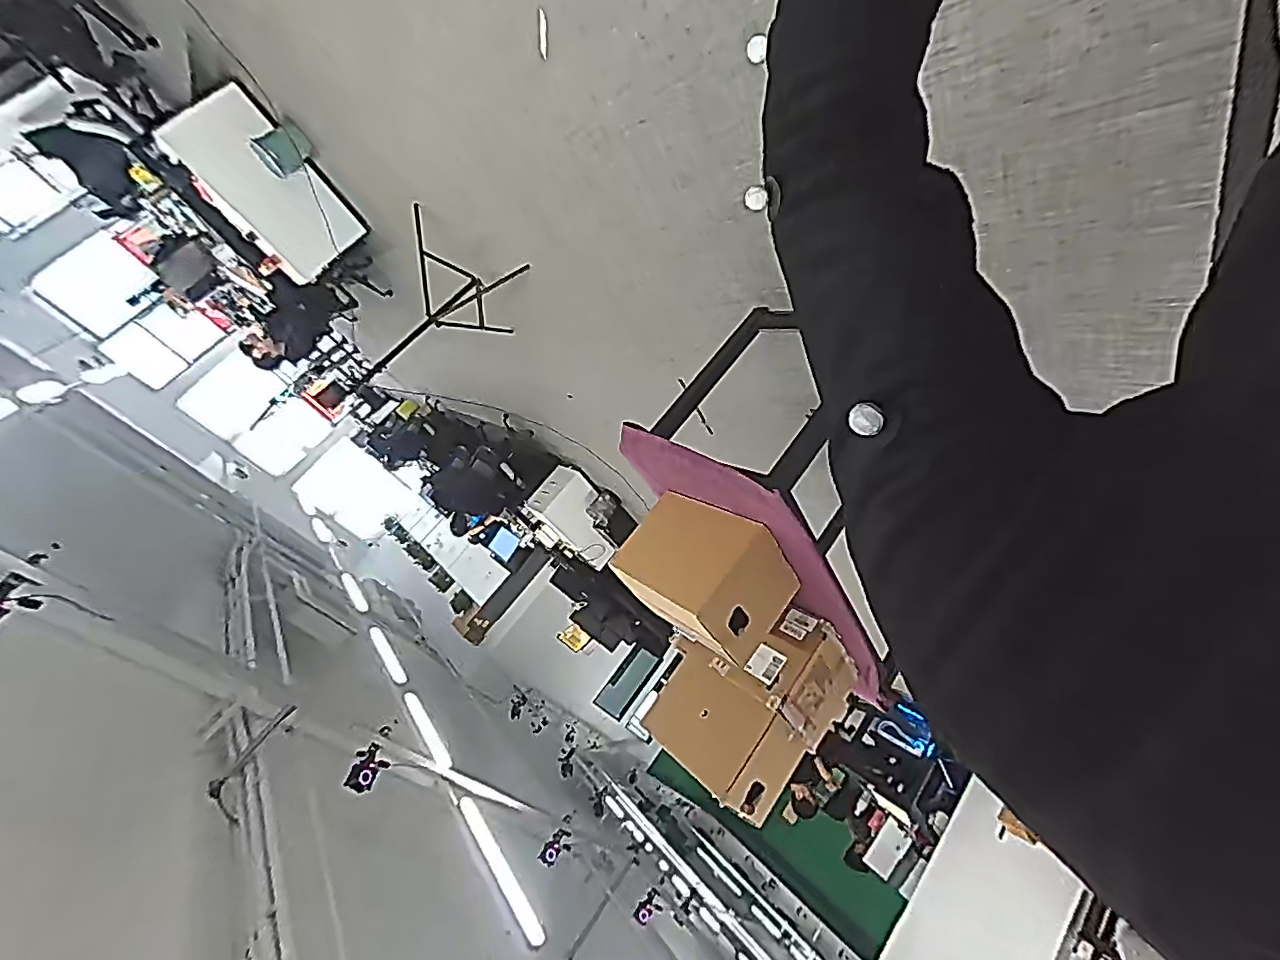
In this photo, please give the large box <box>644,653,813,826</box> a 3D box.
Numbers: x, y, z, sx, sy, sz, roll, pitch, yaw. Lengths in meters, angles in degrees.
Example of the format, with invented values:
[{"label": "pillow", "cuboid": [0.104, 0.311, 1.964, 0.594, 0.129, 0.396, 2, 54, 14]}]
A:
[{"label": "large box", "cuboid": [0.295, 0.854, 1.826, 0.408, 0.320, 0.320, 18, 155, 50]}]
